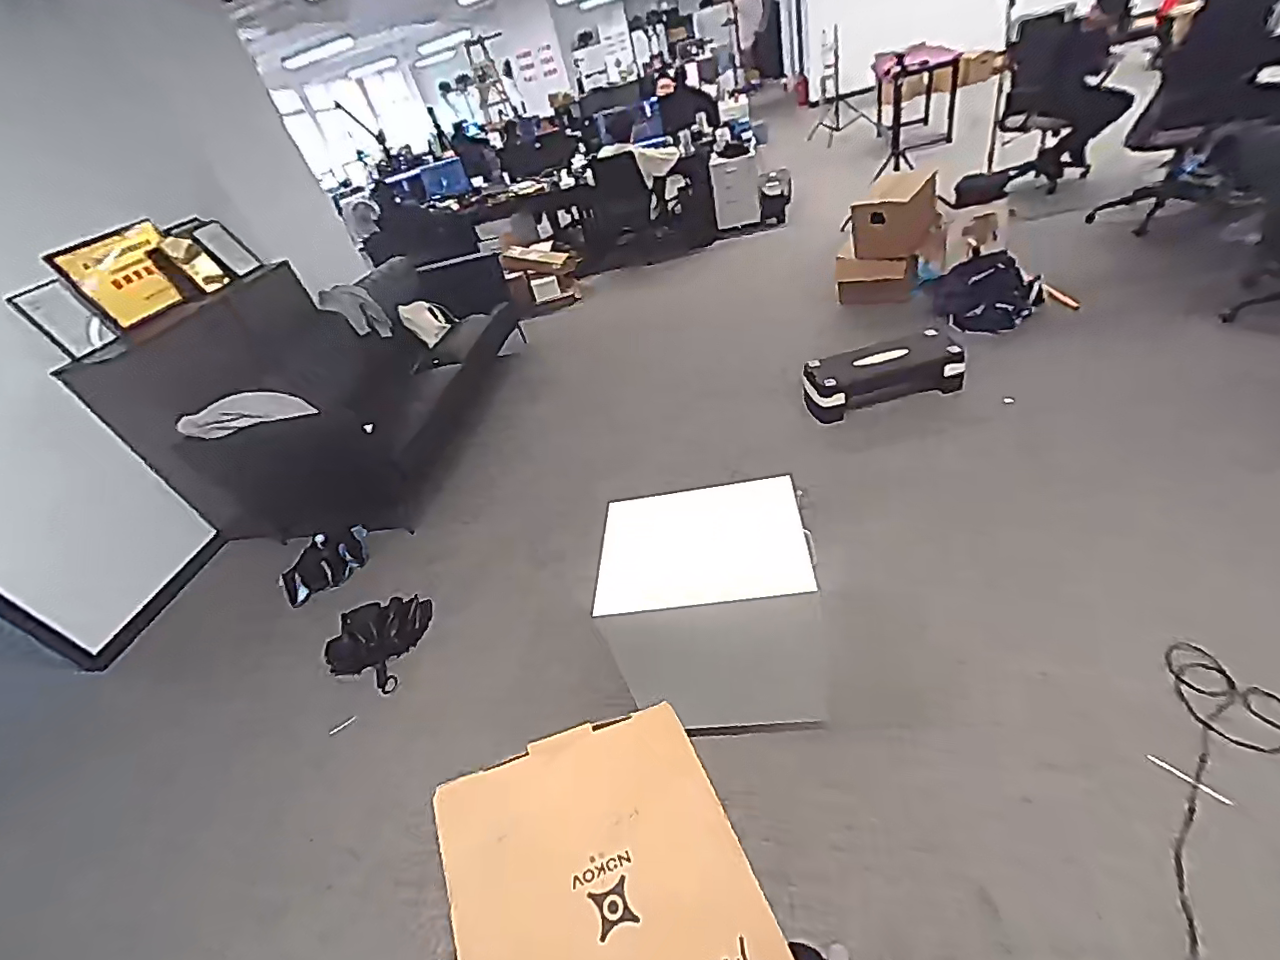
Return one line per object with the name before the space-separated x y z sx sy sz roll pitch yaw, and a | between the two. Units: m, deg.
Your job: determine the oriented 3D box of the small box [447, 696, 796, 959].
small box | -0.030 0.284 0.364 0.168 0.176 0.179 -9 46 -23
